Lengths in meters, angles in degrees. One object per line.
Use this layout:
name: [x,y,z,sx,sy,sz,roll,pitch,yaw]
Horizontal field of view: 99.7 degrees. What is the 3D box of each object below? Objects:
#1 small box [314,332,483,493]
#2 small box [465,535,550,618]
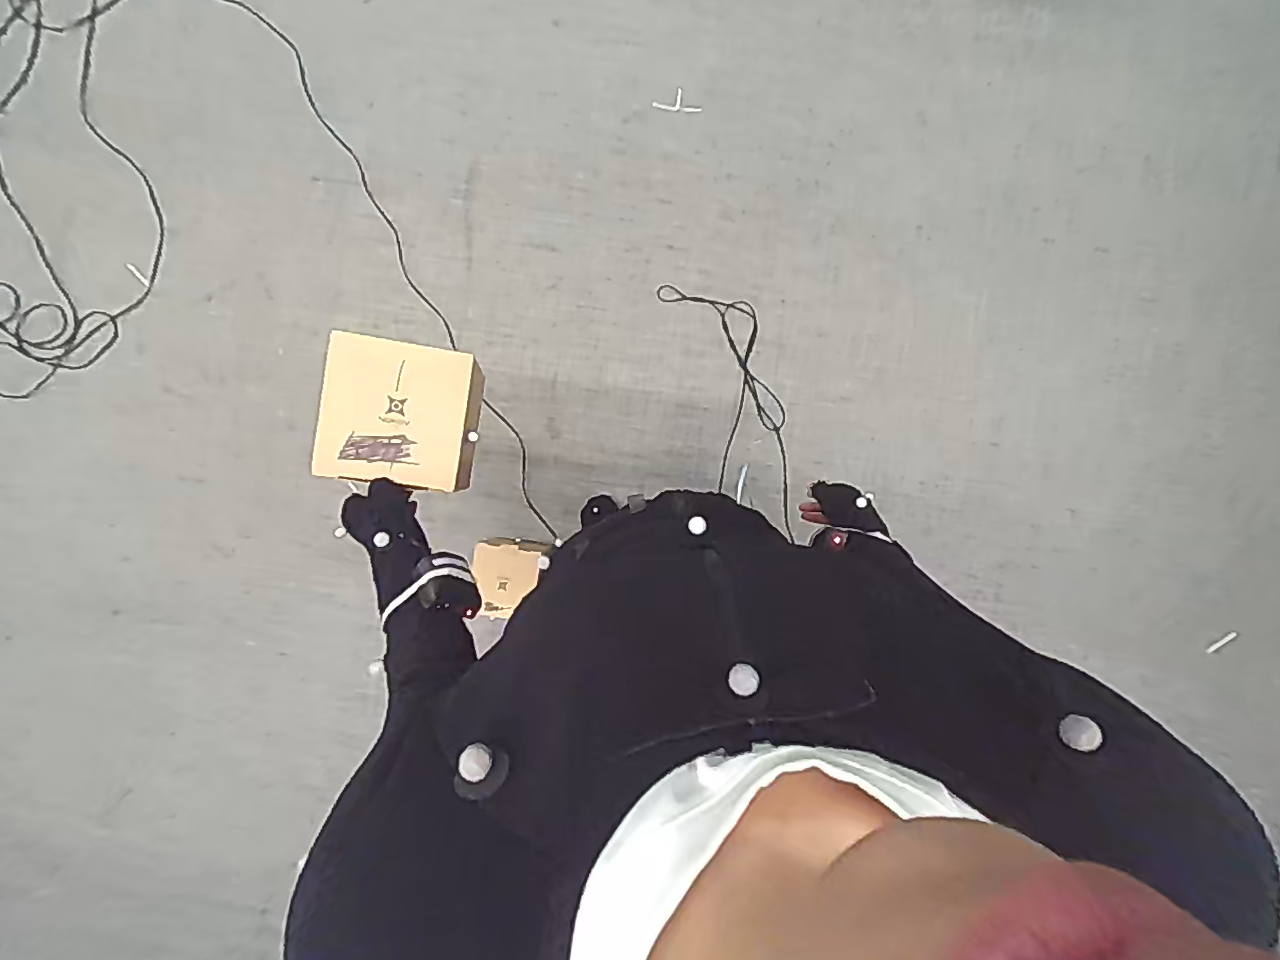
small box: [-0.314,-0.082,0.737,0.168,0.176,0.179,8,89,-12]
small box: [-0.336,0.243,1.404,0.168,0.176,0.179,10,88,-1]
